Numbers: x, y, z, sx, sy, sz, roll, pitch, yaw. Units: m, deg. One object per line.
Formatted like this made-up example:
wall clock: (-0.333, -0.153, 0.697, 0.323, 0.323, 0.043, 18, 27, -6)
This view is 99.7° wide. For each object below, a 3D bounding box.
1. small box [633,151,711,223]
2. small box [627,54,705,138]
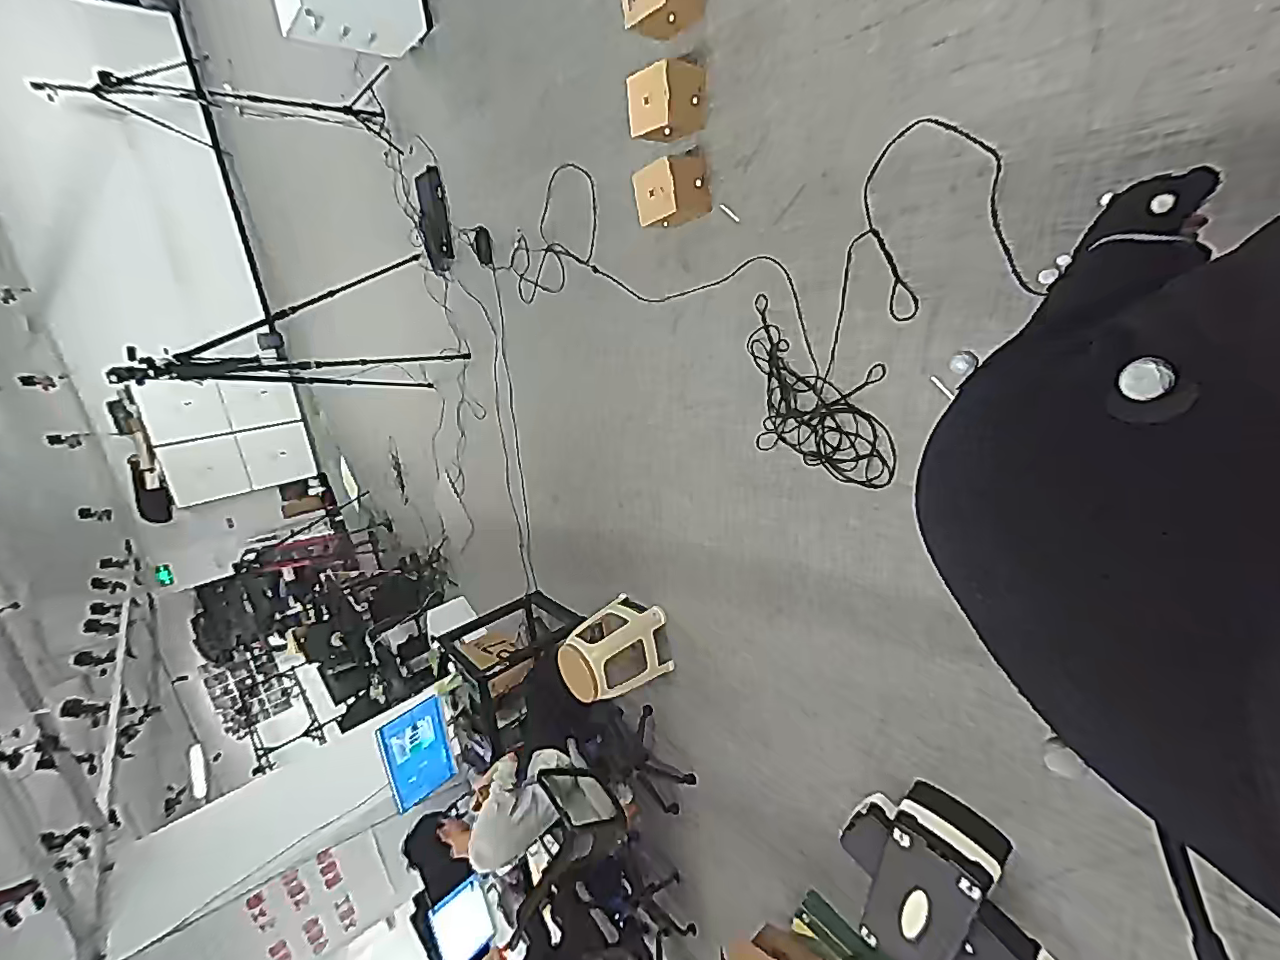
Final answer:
small box: (0.105, -0.950, 1.768, 0.179, 0.176, 0.168, 4, 111, 50)
small box: (0.083, -1.187, 1.686, 0.179, 0.176, 0.168, 15, 118, 46)
